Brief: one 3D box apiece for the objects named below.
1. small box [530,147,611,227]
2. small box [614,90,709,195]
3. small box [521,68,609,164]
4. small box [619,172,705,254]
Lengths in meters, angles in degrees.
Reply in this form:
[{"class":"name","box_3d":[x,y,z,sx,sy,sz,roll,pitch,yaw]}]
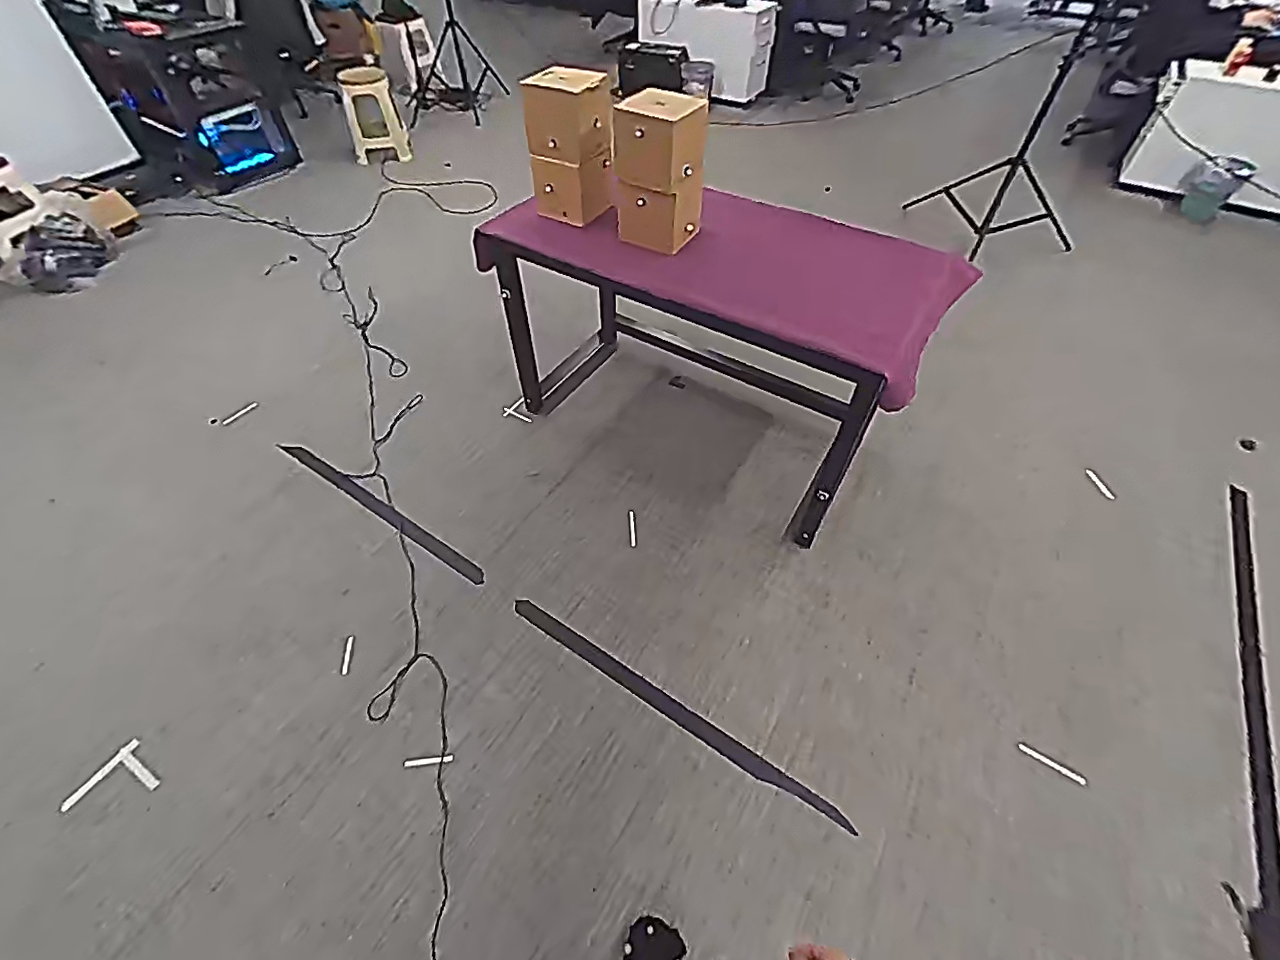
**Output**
[{"class":"small box","box_3d":[-0.194,-0.868,1.582,0.168,0.176,0.179,24,54,18]},{"class":"small box","box_3d":[0.050,-0.842,1.352,0.179,0.176,0.168,28,57,19]},{"class":"small box","box_3d":[-0.194,-0.979,1.460,0.179,0.176,0.168,22,53,16]},{"class":"small box","box_3d":[0.057,-0.748,1.484,0.179,0.176,0.168,25,55,18]}]
